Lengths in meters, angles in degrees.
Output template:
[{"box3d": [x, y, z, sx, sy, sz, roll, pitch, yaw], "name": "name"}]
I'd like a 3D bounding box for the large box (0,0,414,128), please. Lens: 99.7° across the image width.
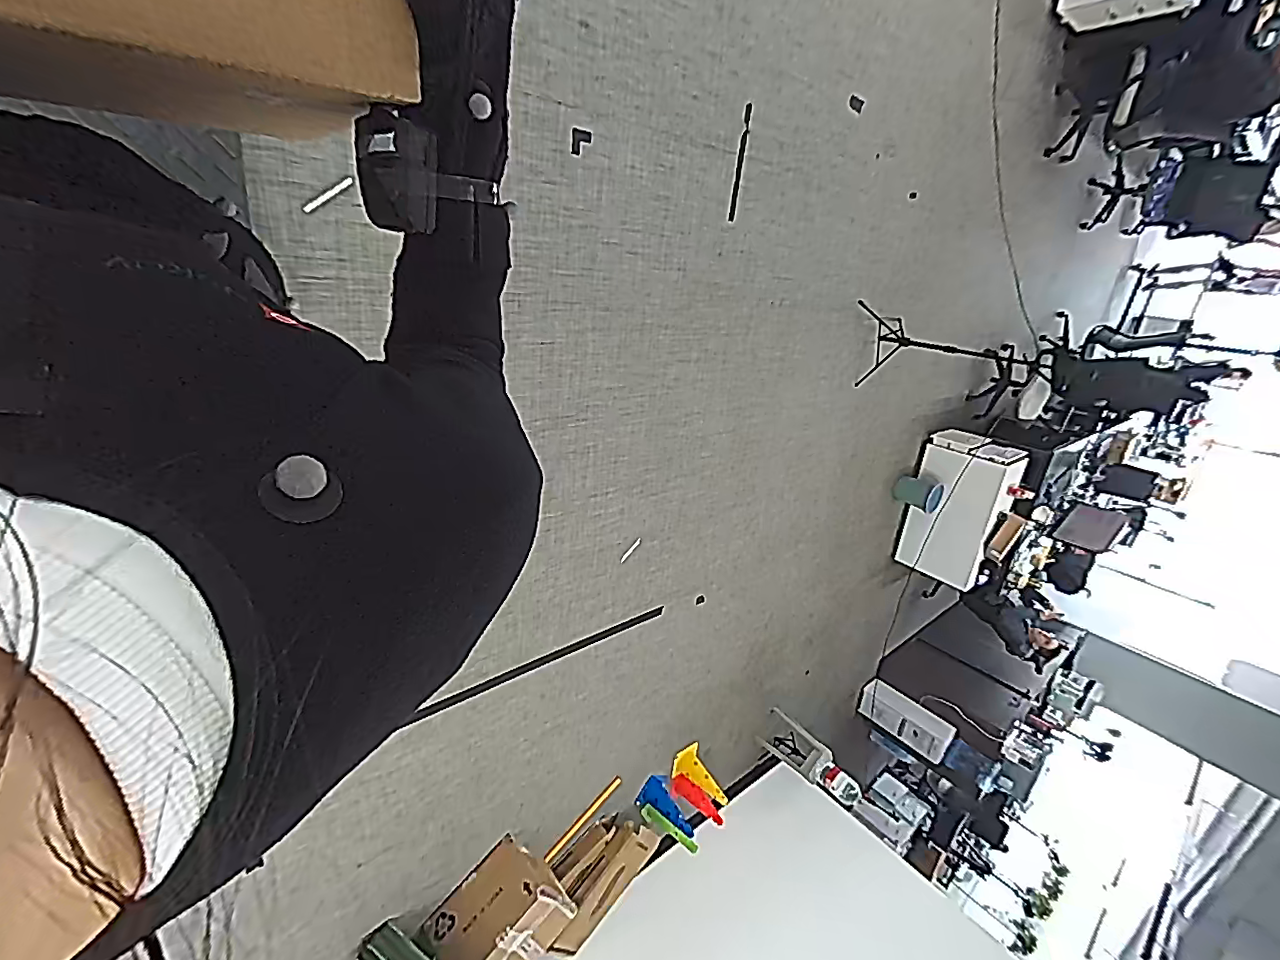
[{"box3d": [-0.373, -0.381, 0.246, 0.408, 0.320, 0.320, -15, 122, -36], "name": "large box"}]
